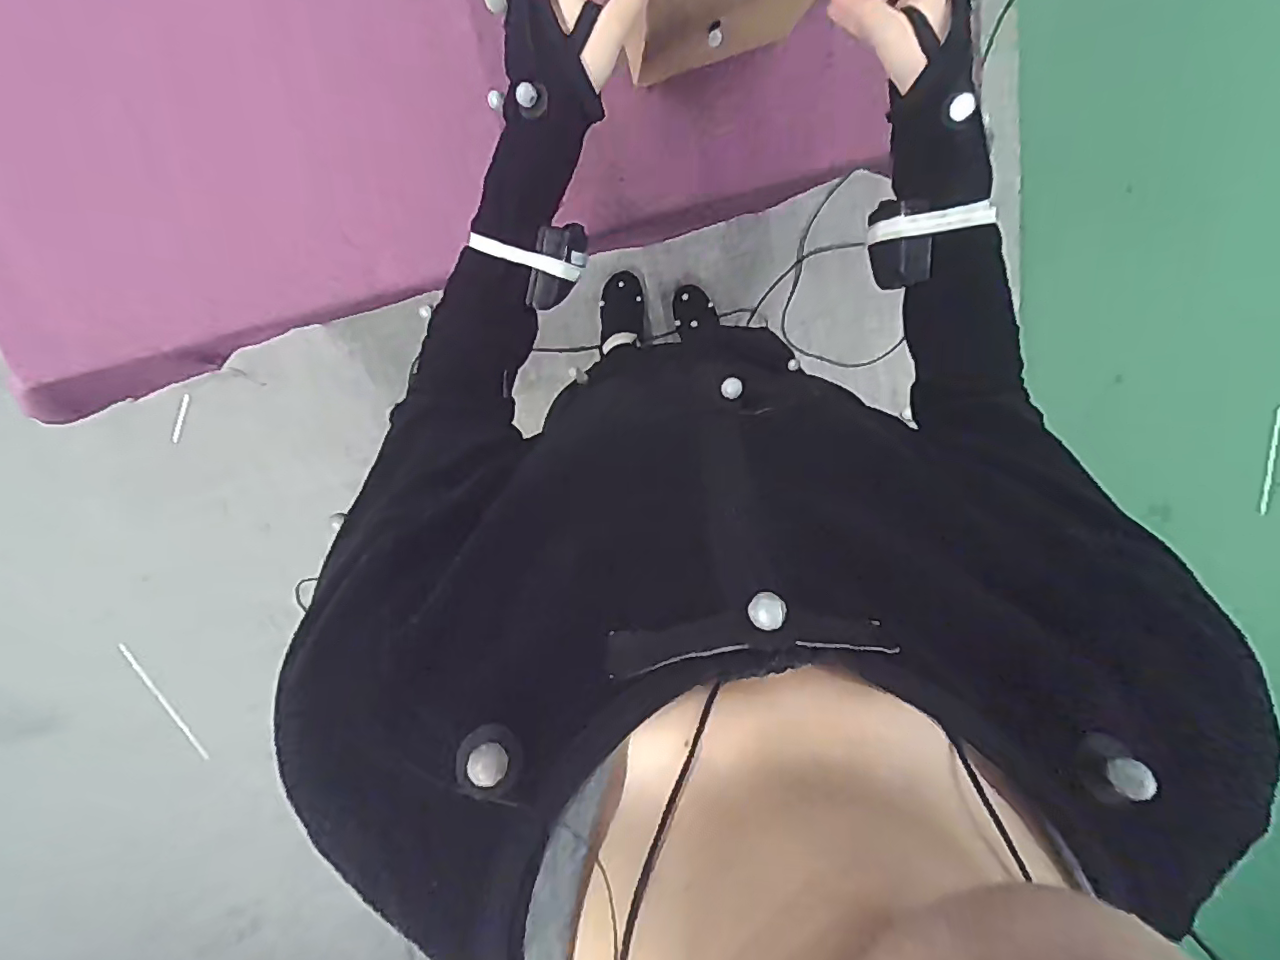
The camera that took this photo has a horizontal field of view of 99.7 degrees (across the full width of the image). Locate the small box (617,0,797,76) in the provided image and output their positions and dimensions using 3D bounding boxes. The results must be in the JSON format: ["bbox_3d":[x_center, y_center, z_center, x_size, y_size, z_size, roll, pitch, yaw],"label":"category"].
[{"bbox_3d":[0.056,-0.511,0.494,0.179,0.176,0.168,-17,110,3],"label":"small box"}]
